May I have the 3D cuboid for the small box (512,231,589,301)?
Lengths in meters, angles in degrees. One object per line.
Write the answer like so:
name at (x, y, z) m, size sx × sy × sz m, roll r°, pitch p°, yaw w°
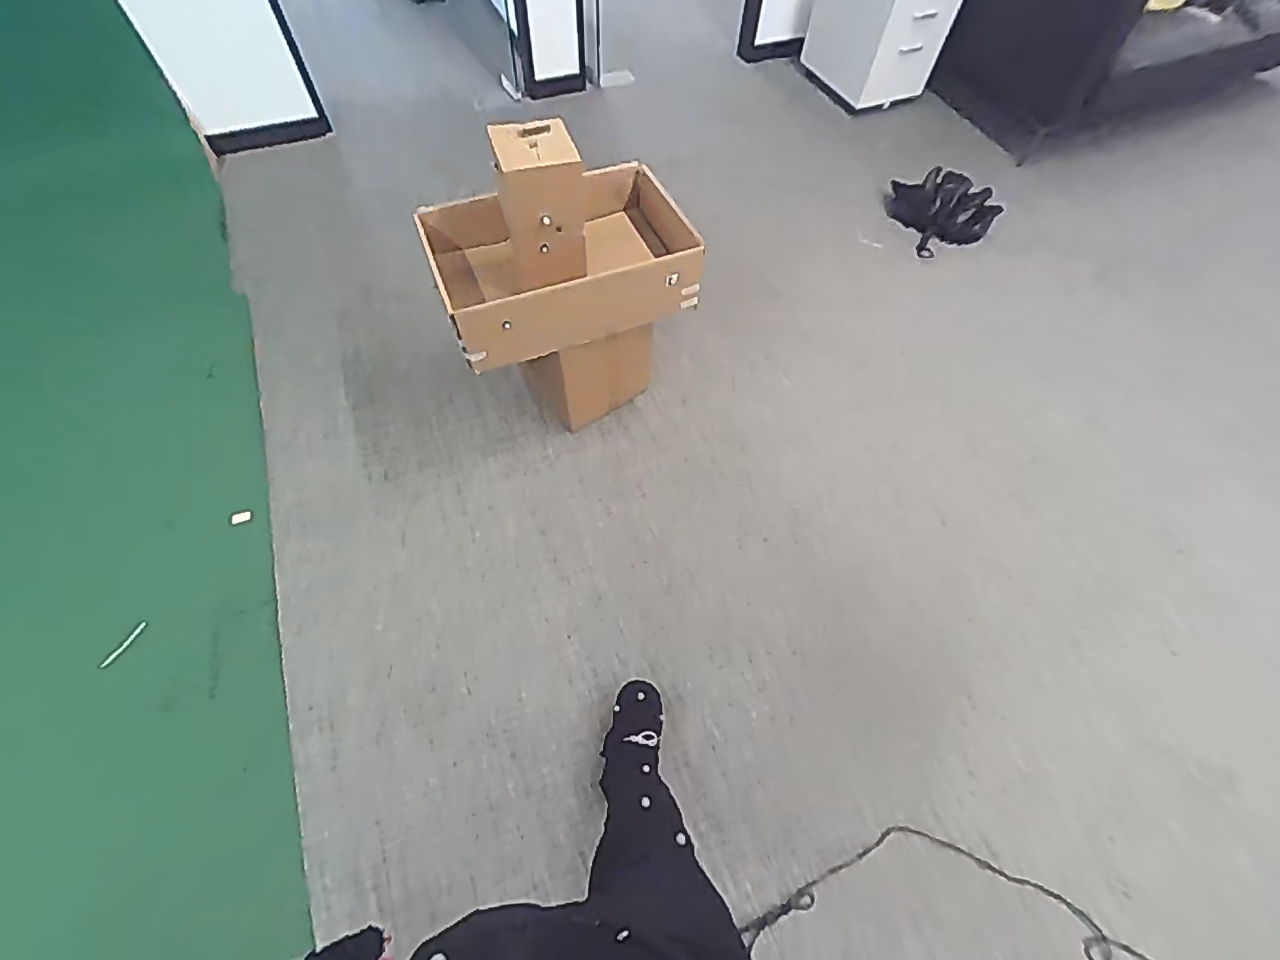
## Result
small box at (-0.226, -0.578, 1.352) m, size 0.168 × 0.176 × 0.179 m, roll -13°, pitch 60°, yaw -9°

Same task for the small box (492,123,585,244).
small box at (-0.224, -0.660, 1.210) m, size 0.168 × 0.176 × 0.179 m, roll -15°, pitch 62°, yaw -11°
